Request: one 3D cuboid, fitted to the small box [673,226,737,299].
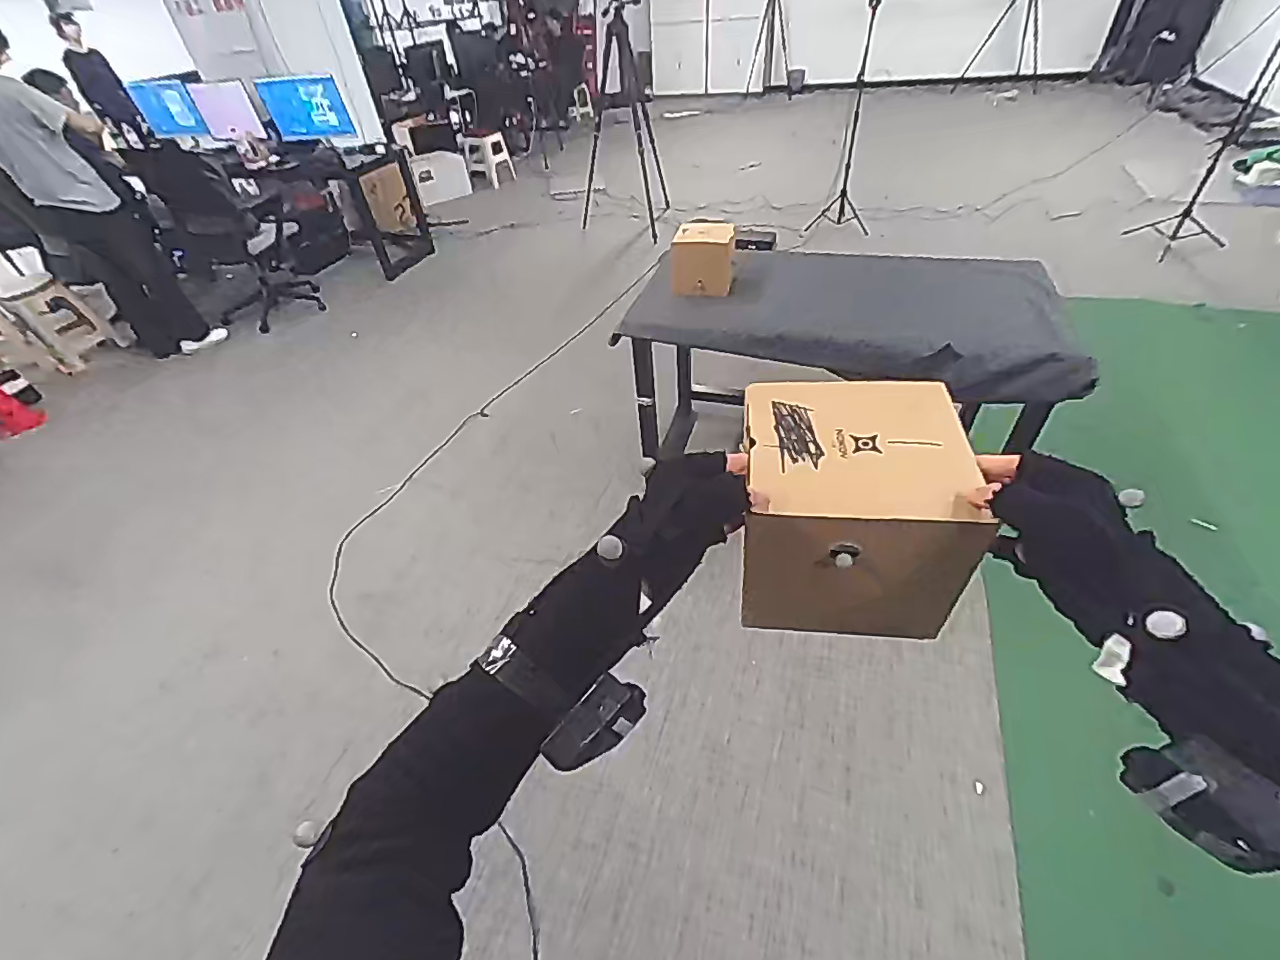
[{"bbox_3d":[0.209,-0.692,1.728,0.179,0.176,0.168,8,44,13],"label":"small box"}]

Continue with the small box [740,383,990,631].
[{"bbox_3d":[0.184,0.026,0.506,0.179,0.176,0.168,1,46,9],"label":"small box"}]
